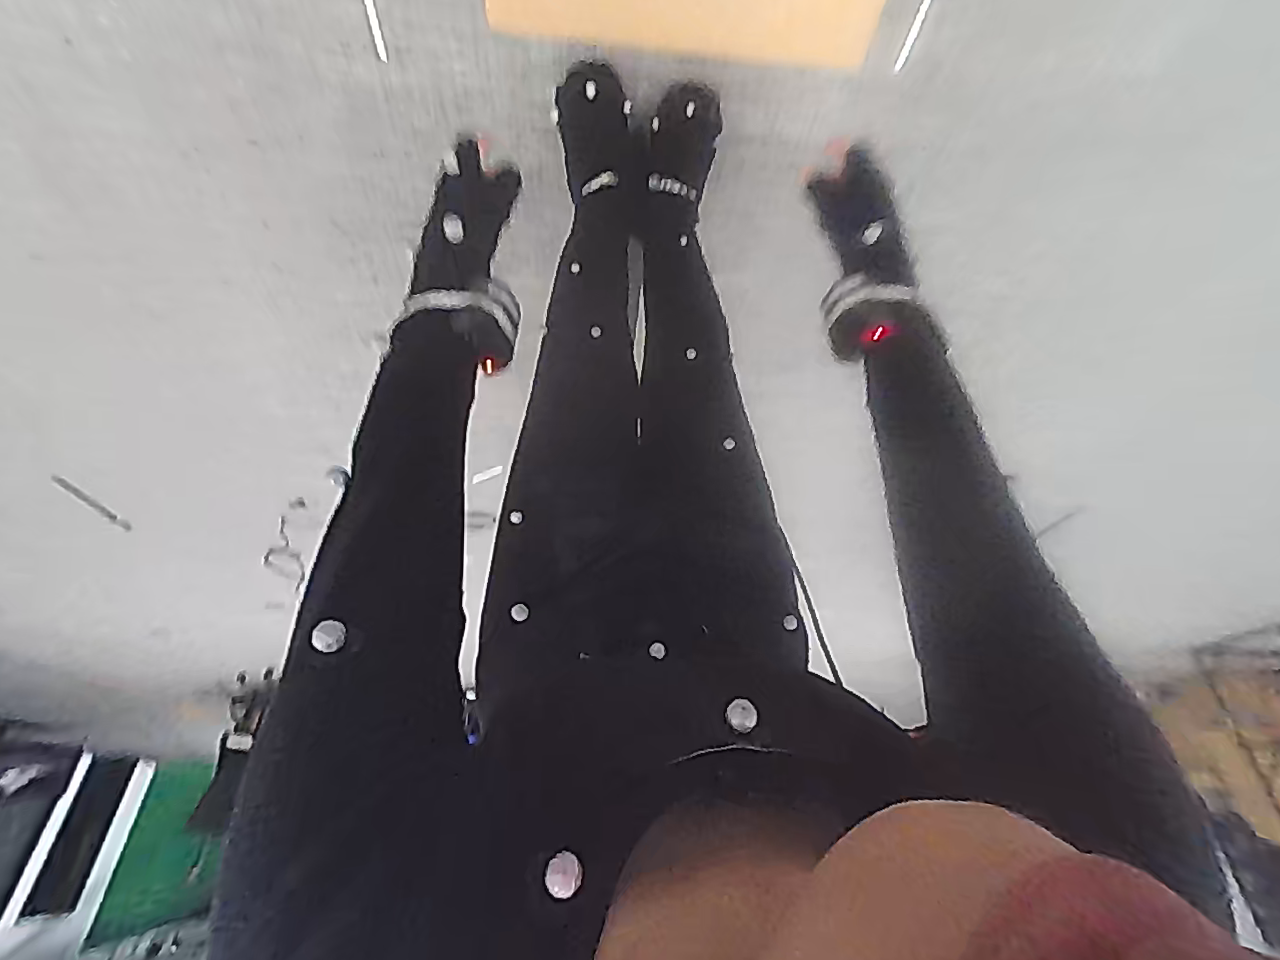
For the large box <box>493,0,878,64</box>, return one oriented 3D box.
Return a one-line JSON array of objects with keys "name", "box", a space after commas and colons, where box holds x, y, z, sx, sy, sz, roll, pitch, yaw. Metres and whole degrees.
[{"name": "large box", "box": [0.050, -0.674, 0.543, 0.408, 0.320, 0.320, 1, 148, -6]}]
